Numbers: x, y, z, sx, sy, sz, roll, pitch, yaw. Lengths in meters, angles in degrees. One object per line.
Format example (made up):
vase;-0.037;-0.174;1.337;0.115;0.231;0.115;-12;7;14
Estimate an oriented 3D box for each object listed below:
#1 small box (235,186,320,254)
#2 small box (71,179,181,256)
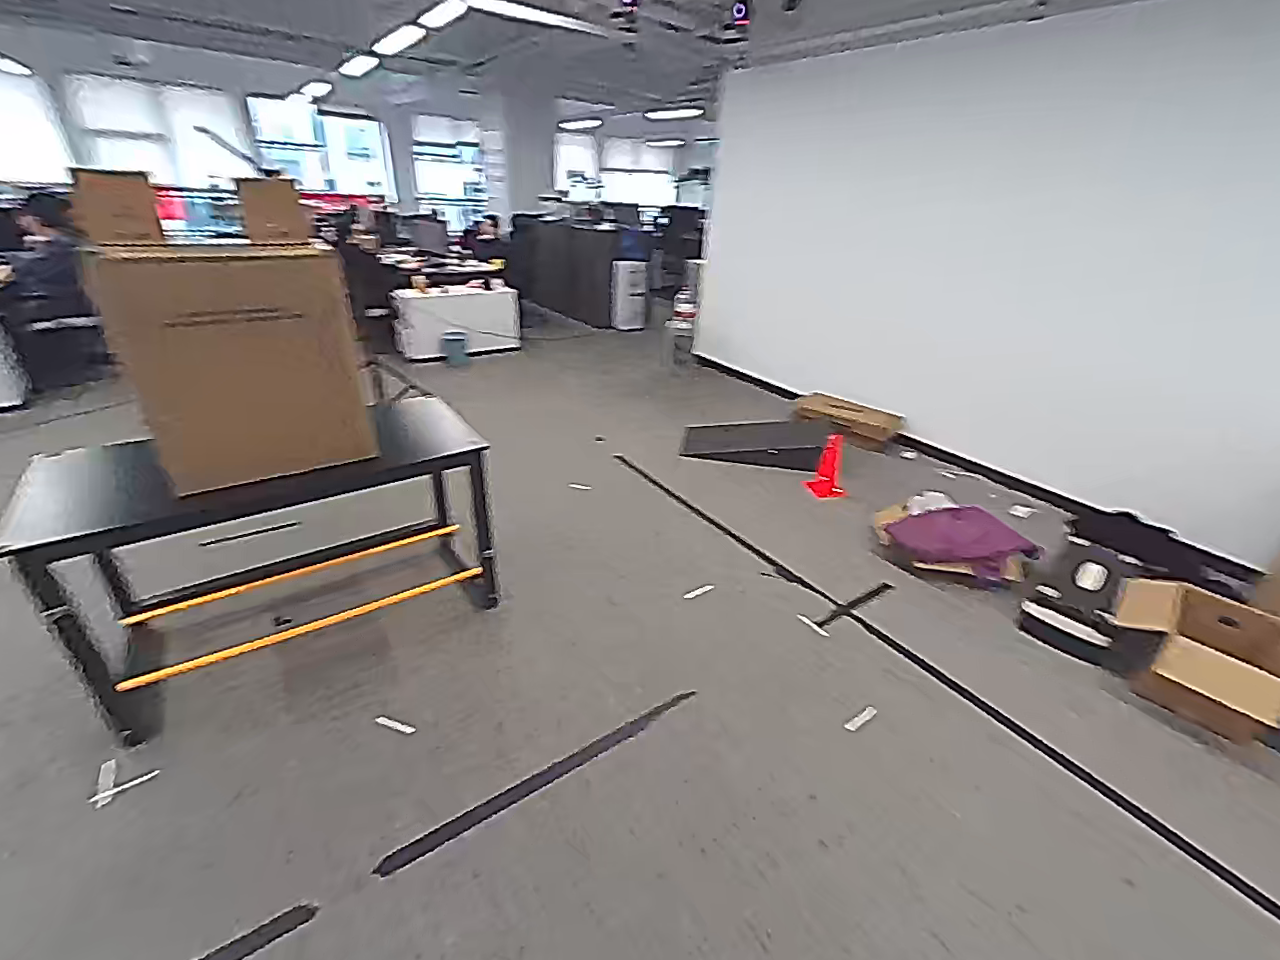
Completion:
small box;-1.046;-0.751;1.564;0.168;0.176;0.179;-18;33;-29
small box;-1.318;-0.676;1.397;0.168;0.176;0.179;-19;34;-36
